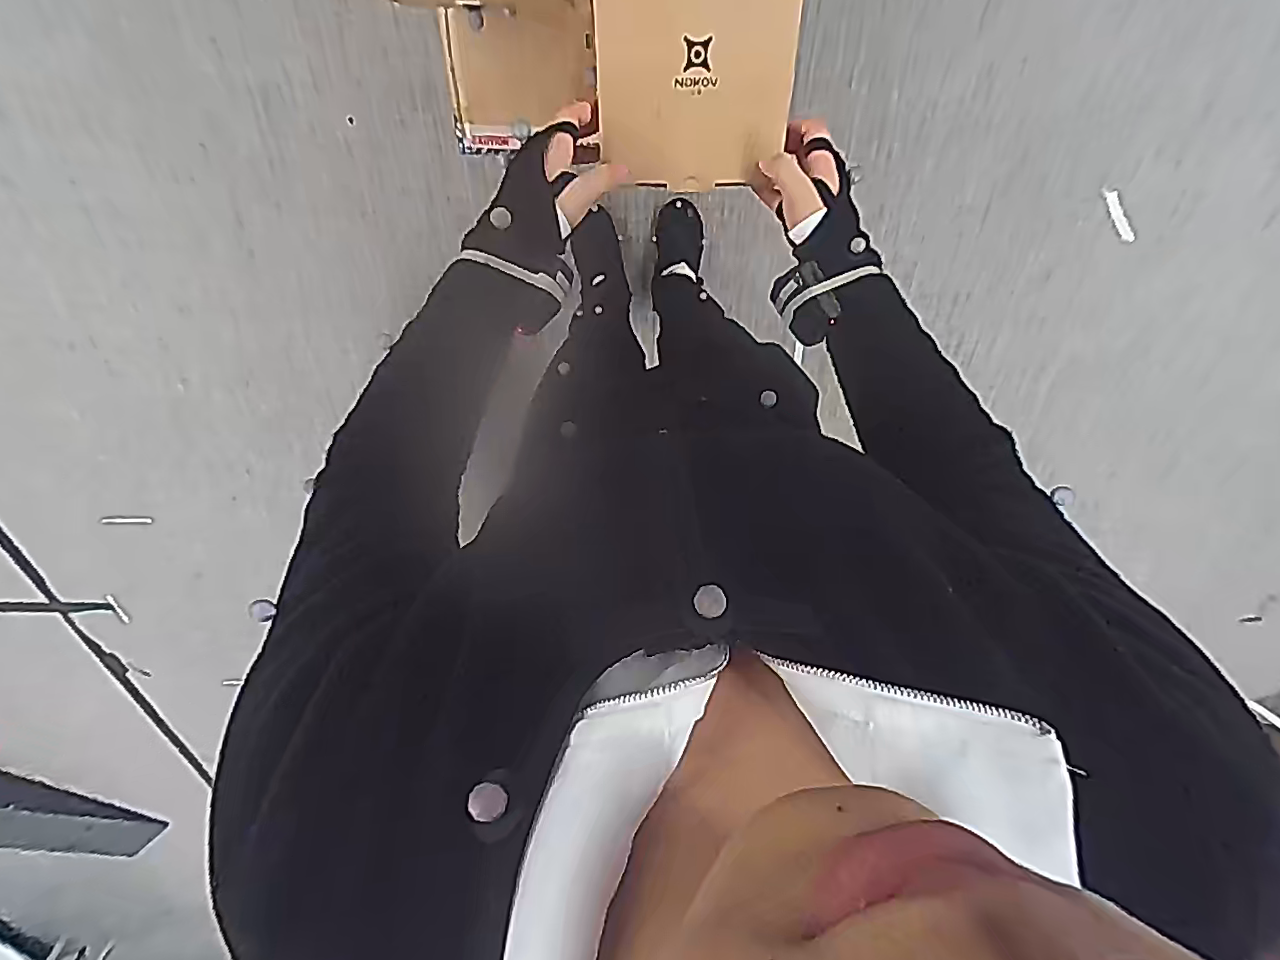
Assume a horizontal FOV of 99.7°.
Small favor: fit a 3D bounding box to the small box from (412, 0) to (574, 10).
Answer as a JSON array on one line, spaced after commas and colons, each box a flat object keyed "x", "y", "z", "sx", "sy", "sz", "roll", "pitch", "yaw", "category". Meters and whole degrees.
[{"x": -0.144, "y": -0.498, "z": 0.429, "sx": 0.168, "sy": 0.176, "sz": 0.179, "roll": 0, "pitch": 127, "yaw": 1, "category": "small box"}]

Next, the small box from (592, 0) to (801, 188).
[{"x": 0.043, "y": -0.387, "z": 0.510, "sx": 0.168, "sy": 0.176, "sz": 0.179, "roll": -1, "pitch": 126, "yaw": -1, "category": "small box"}]
